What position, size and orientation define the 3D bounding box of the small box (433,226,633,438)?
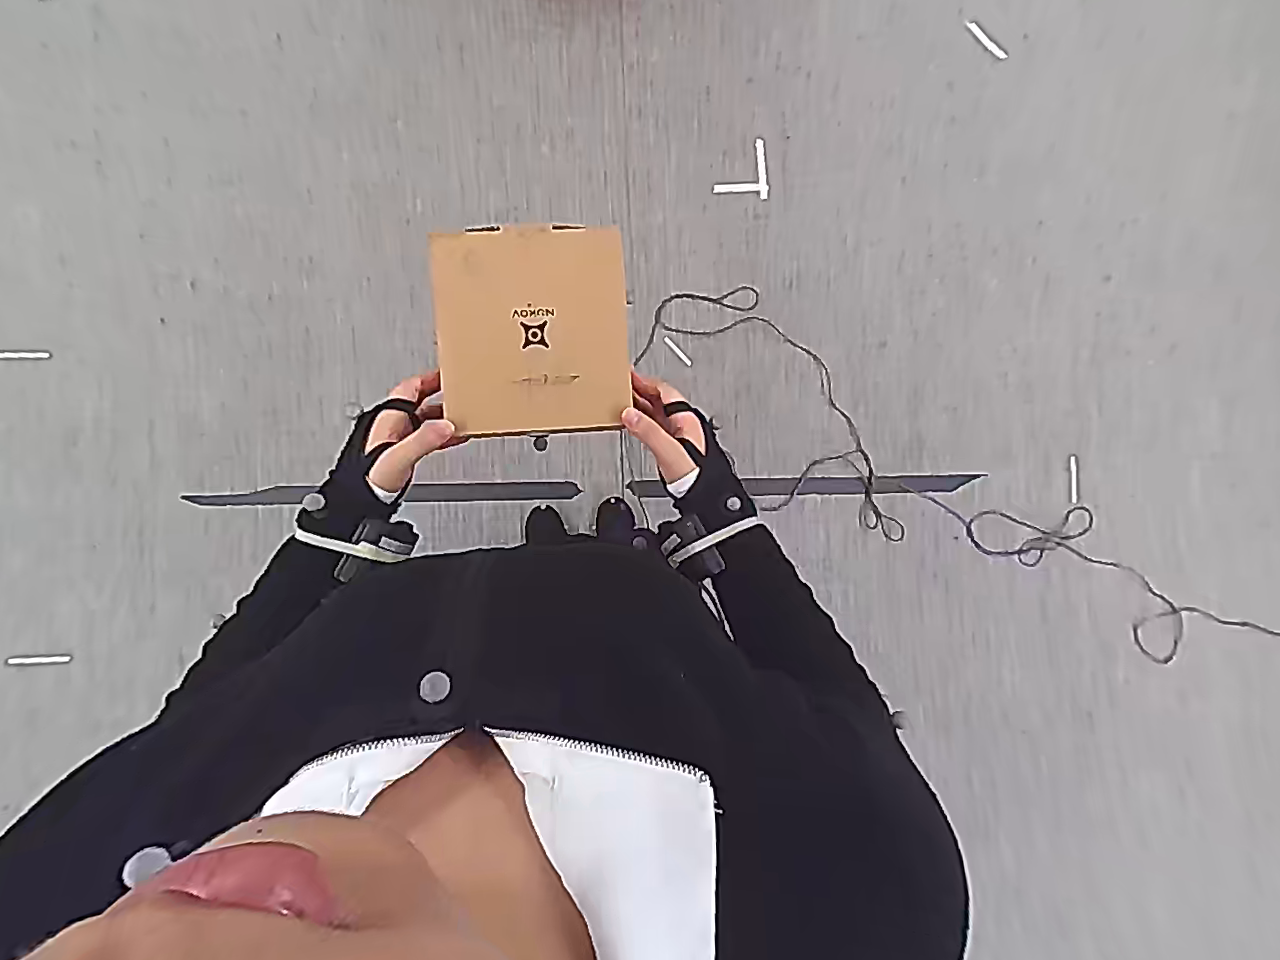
[{"bbox_3d":[-0.099,-0.134,0.546,0.168,0.176,0.179,-4,95,-6],"label":"small box"}]
